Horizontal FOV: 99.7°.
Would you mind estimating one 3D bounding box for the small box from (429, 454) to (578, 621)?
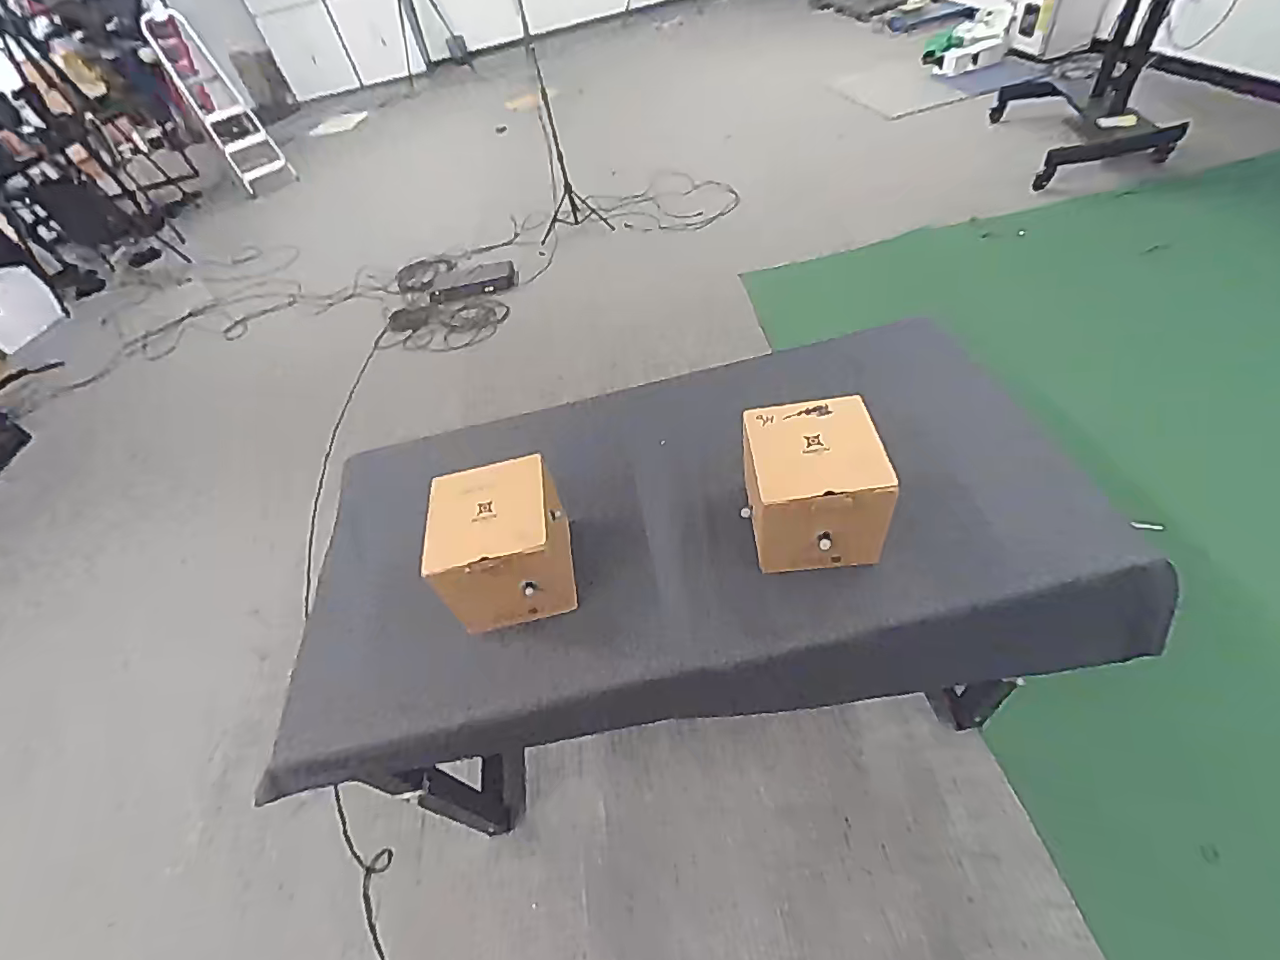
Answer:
[{"bbox_3d":[-0.196,0.094,0.811,0.168,0.176,0.179,-14,47,0],"label":"small box"}]

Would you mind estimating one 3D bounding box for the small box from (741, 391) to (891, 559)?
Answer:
[{"bbox_3d":[0.242,0.001,0.779,0.168,0.176,0.179,-8,50,7],"label":"small box"}]
